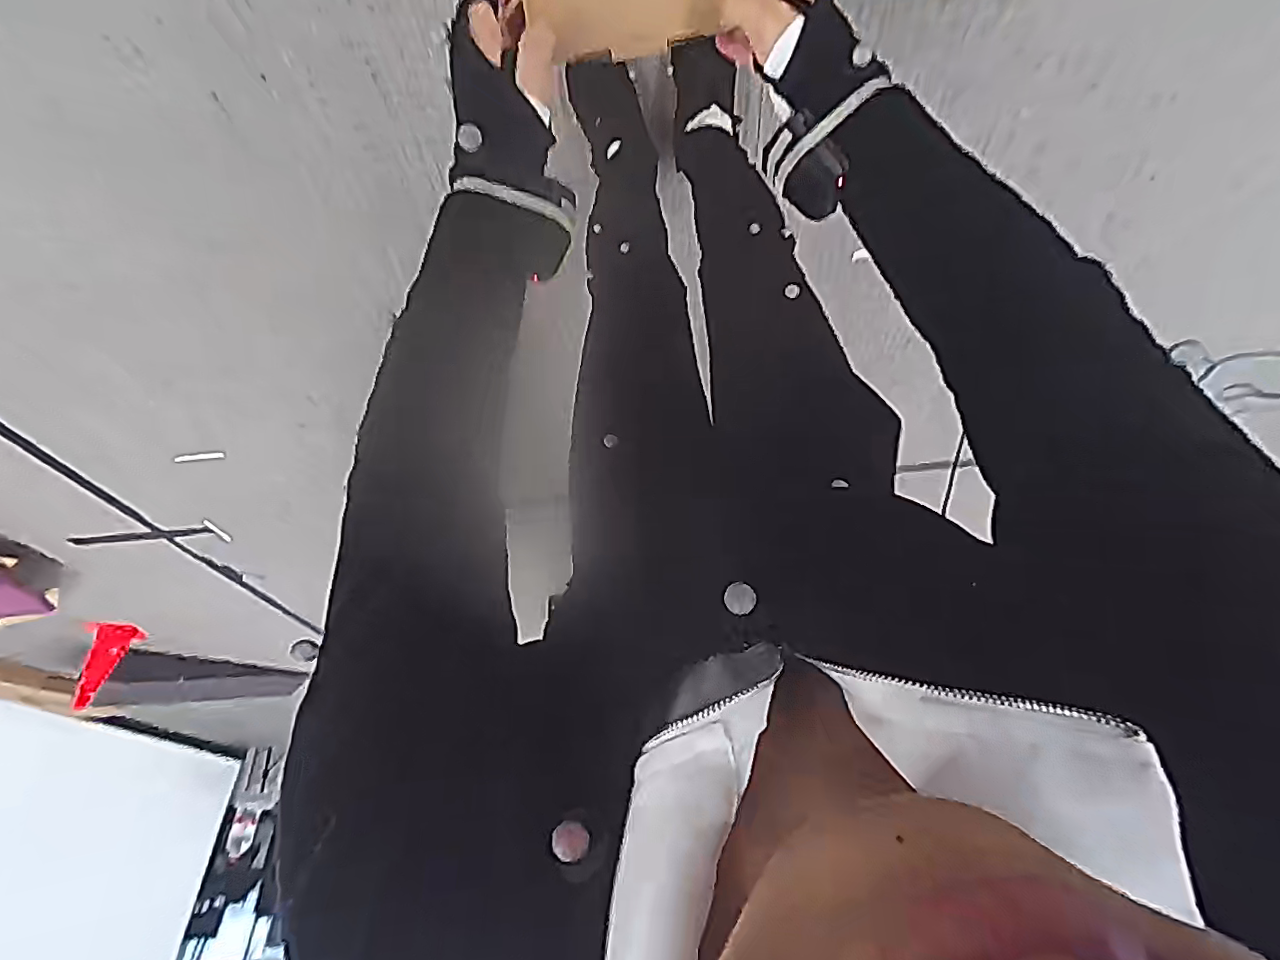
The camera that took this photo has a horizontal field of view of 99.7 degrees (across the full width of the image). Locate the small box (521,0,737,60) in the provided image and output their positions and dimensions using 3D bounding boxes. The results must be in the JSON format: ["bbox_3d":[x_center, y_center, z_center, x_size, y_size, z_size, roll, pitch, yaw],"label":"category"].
[{"bbox_3d":[-0.022,-0.458,0.408,0.168,0.176,0.179,-10,141,-1],"label":"small box"}]
